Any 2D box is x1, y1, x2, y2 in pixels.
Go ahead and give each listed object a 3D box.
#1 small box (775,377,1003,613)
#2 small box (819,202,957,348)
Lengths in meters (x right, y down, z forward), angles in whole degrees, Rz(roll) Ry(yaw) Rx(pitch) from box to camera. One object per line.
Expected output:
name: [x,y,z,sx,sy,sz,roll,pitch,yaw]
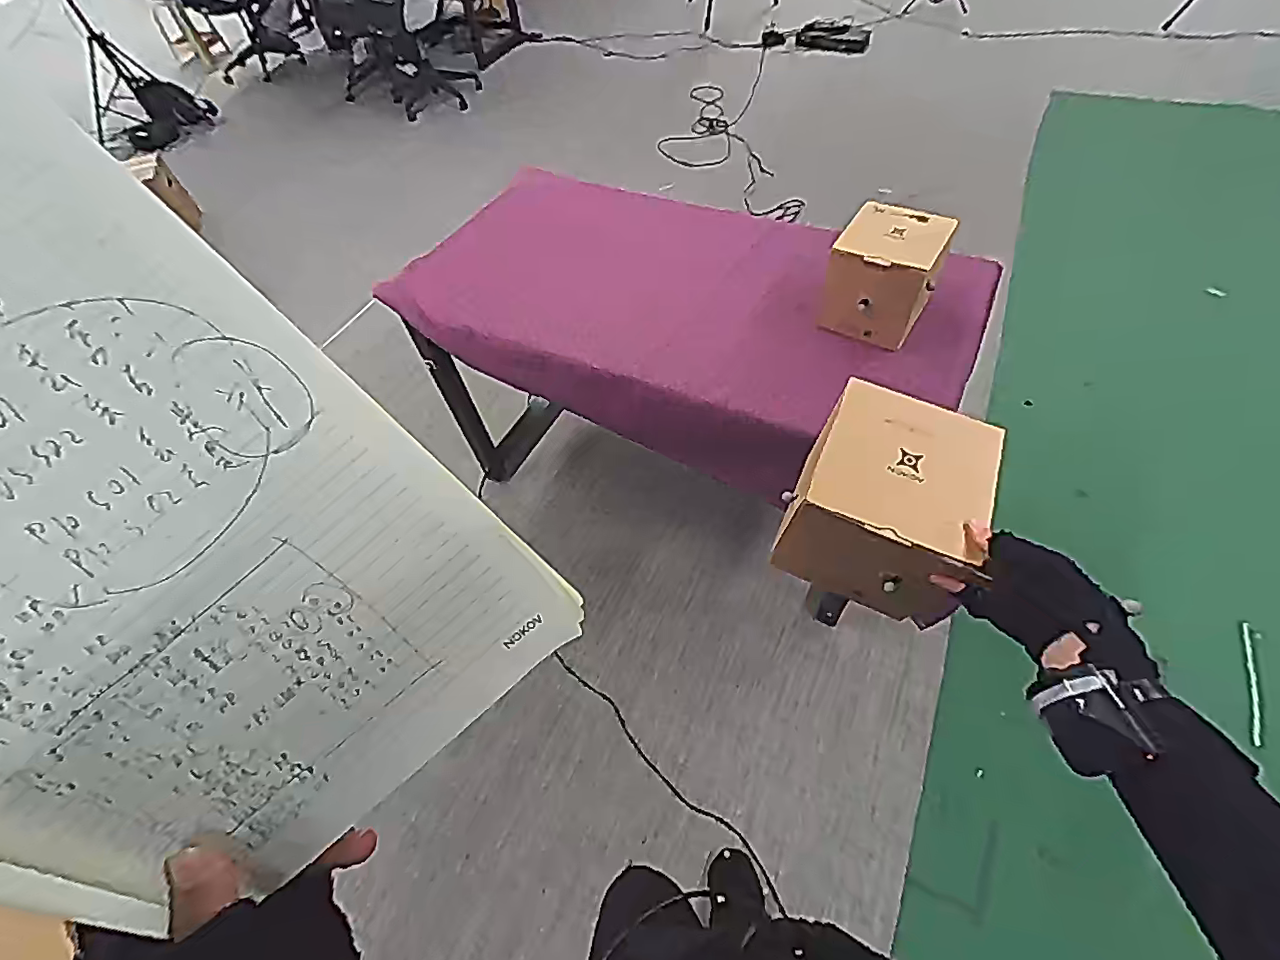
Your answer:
small box: [0.264,0.024,0.607,0.168,0.176,0.179,23,62,12]
small box: [0.448,-0.376,1.002,0.168,0.176,0.179,27,62,22]
